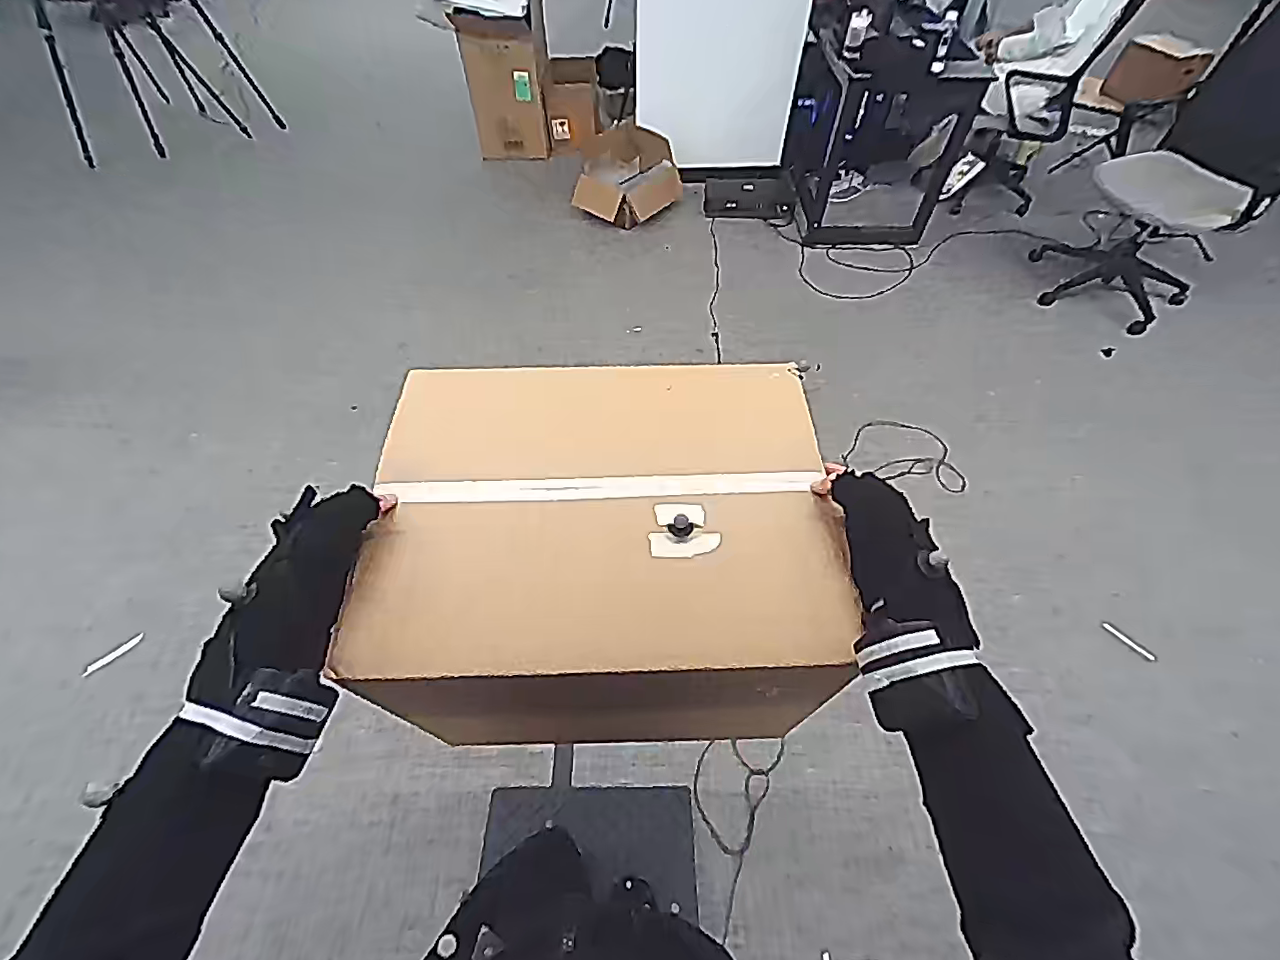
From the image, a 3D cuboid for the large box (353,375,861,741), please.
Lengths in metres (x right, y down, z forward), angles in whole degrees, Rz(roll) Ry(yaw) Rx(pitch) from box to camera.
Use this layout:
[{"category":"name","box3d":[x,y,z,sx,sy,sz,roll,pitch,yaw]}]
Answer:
[{"category":"large box","box3d":[-0.031,0.100,0.622,0.408,0.320,0.320,-1,56,-1]}]

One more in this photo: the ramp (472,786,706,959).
[{"category":"ramp","box3d":[-0.107,1.116,0.994,0.509,0.206,0.991,-3,54,0]}]
